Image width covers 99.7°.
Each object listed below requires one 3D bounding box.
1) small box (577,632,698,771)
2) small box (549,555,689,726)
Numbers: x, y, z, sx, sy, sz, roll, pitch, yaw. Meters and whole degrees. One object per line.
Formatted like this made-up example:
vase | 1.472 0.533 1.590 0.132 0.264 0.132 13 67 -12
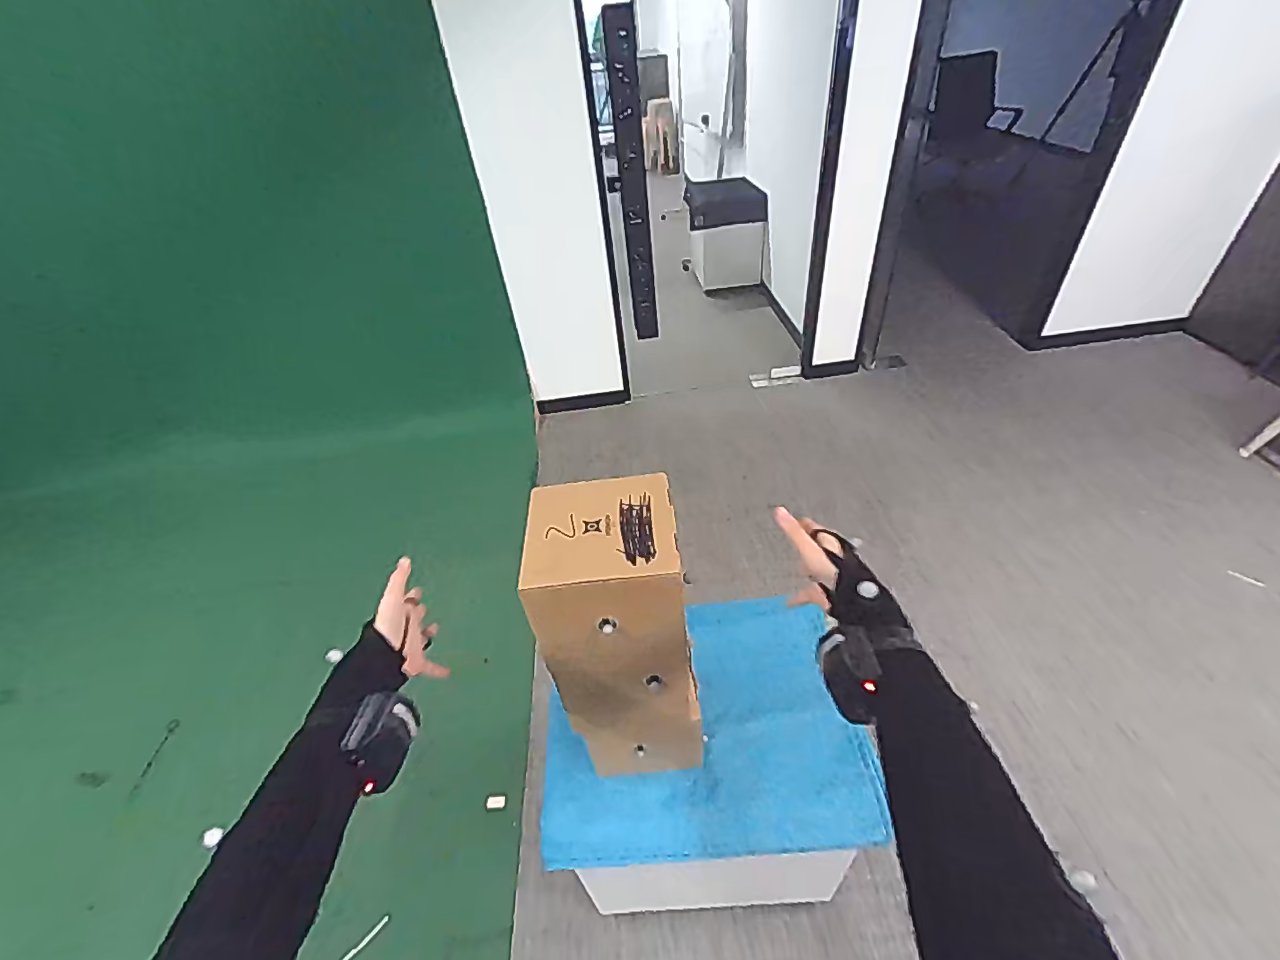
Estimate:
small box | -0.001 0.353 0.885 0.179 0.176 0.168 -6 40 1
small box | -0.025 0.231 0.777 0.179 0.176 0.168 -6 40 1
